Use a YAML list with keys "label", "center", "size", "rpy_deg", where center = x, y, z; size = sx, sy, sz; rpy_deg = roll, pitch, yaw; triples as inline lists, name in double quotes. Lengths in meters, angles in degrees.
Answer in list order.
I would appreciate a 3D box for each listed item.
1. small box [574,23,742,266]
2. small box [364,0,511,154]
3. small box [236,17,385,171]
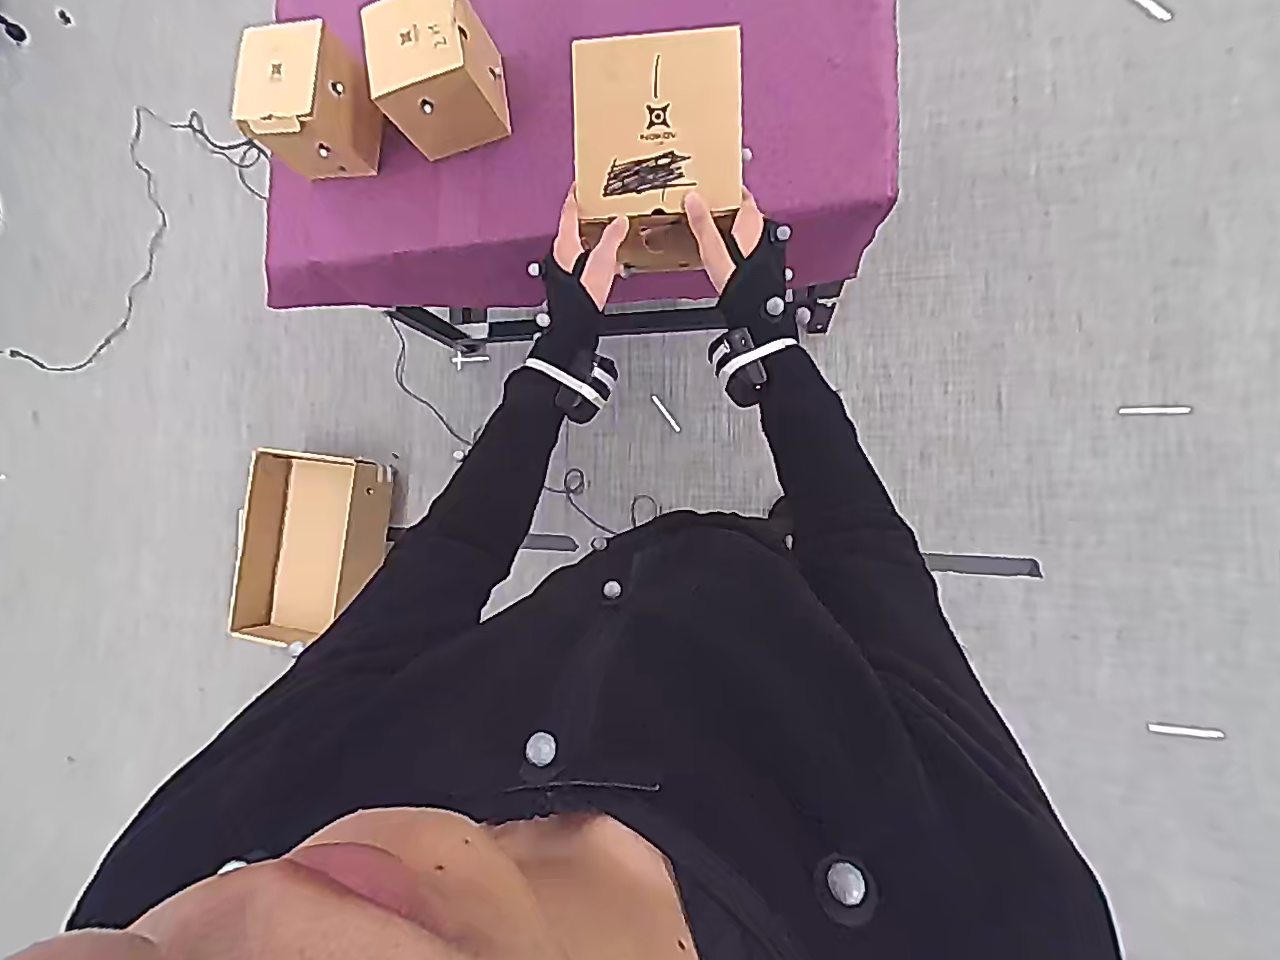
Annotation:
- label: "small box"
  center: [0.025, -0.350, 0.603]
  size: [0.168, 0.176, 0.179]
  rpy_deg: [-1, 92, 5]
- label: "small box"
  center: [-0.350, -0.717, 0.953]
  size: [0.179, 0.176, 0.168]
  rpy_deg: [-9, 86, 12]
- label: "small box"
  center: [-0.604, -0.704, 1.010]
  size: [0.168, 0.176, 0.179]
  rpy_deg: [5, 88, 12]
